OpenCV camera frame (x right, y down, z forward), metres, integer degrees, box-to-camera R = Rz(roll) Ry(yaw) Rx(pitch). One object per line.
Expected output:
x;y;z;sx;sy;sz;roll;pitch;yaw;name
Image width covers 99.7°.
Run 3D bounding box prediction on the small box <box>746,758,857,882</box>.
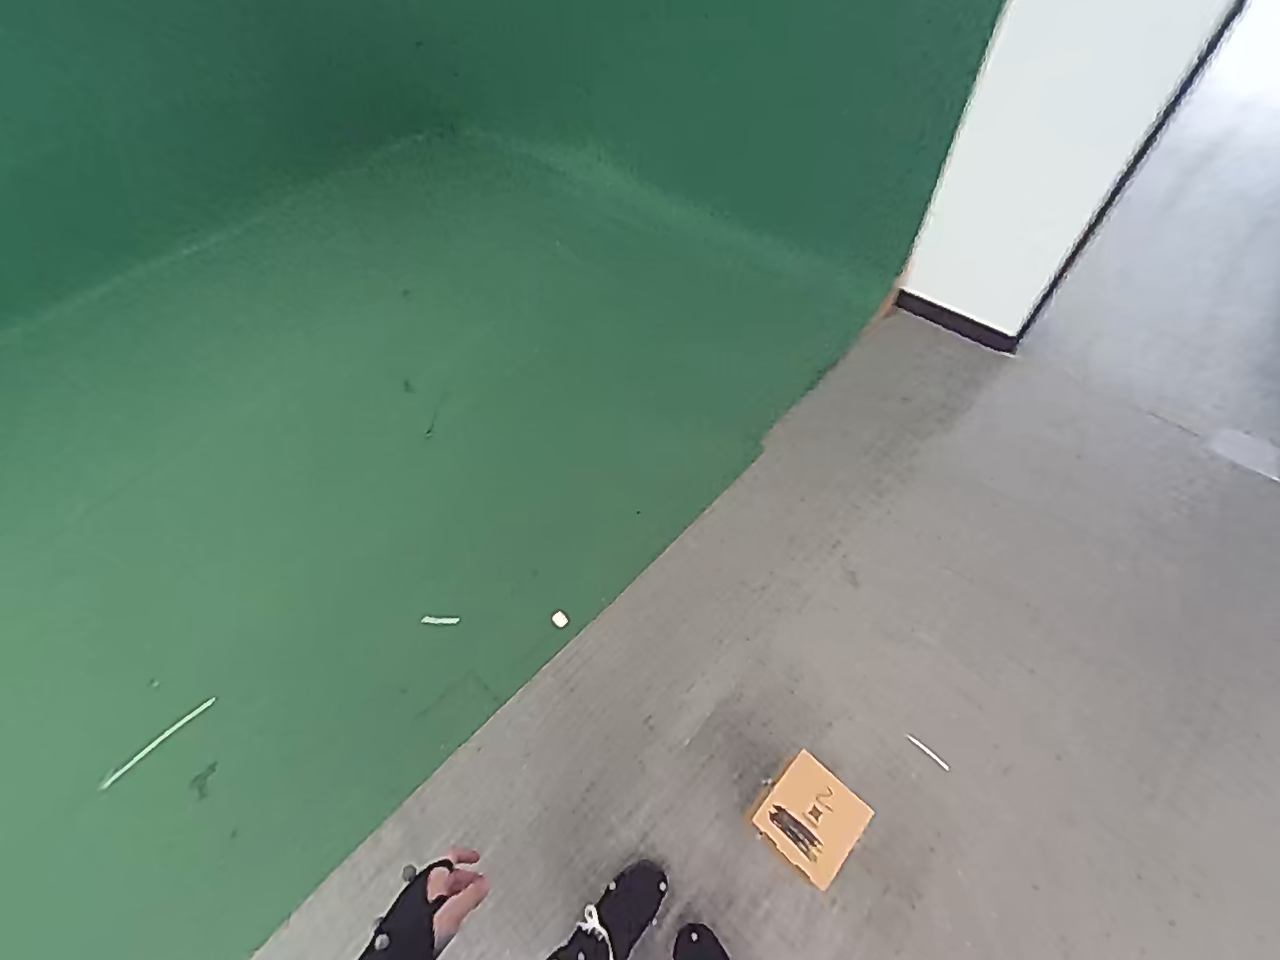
0.361;0.782;1.248;0.179;0.176;0.168;38;68;26;small box
